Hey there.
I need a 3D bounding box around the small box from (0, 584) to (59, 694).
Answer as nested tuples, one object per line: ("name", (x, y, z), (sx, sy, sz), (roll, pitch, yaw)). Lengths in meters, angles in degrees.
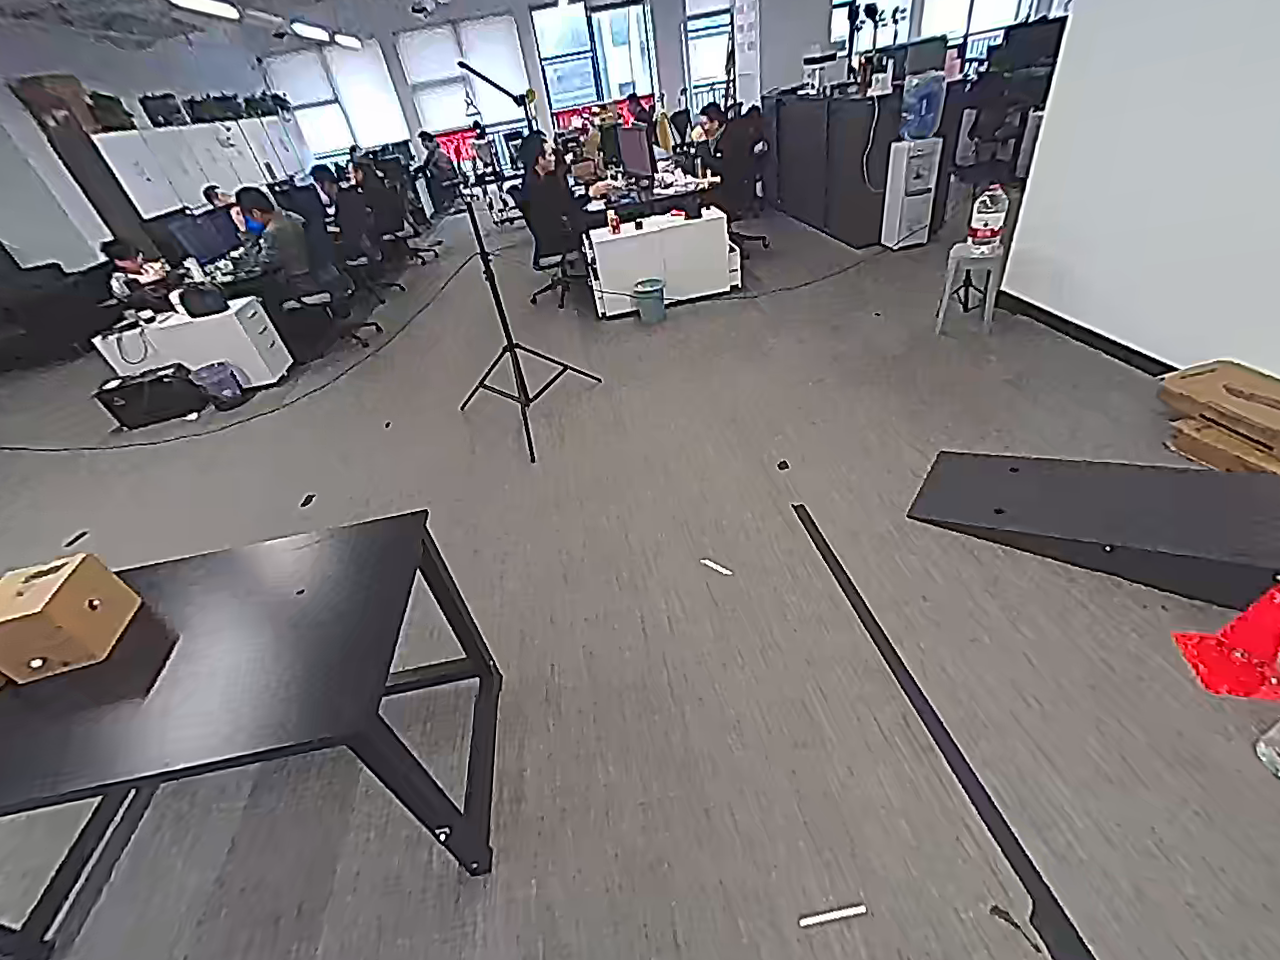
("small box", (-1.416, 0.351, 1.139), (0.168, 0.176, 0.179), (-9, 36, 1))
